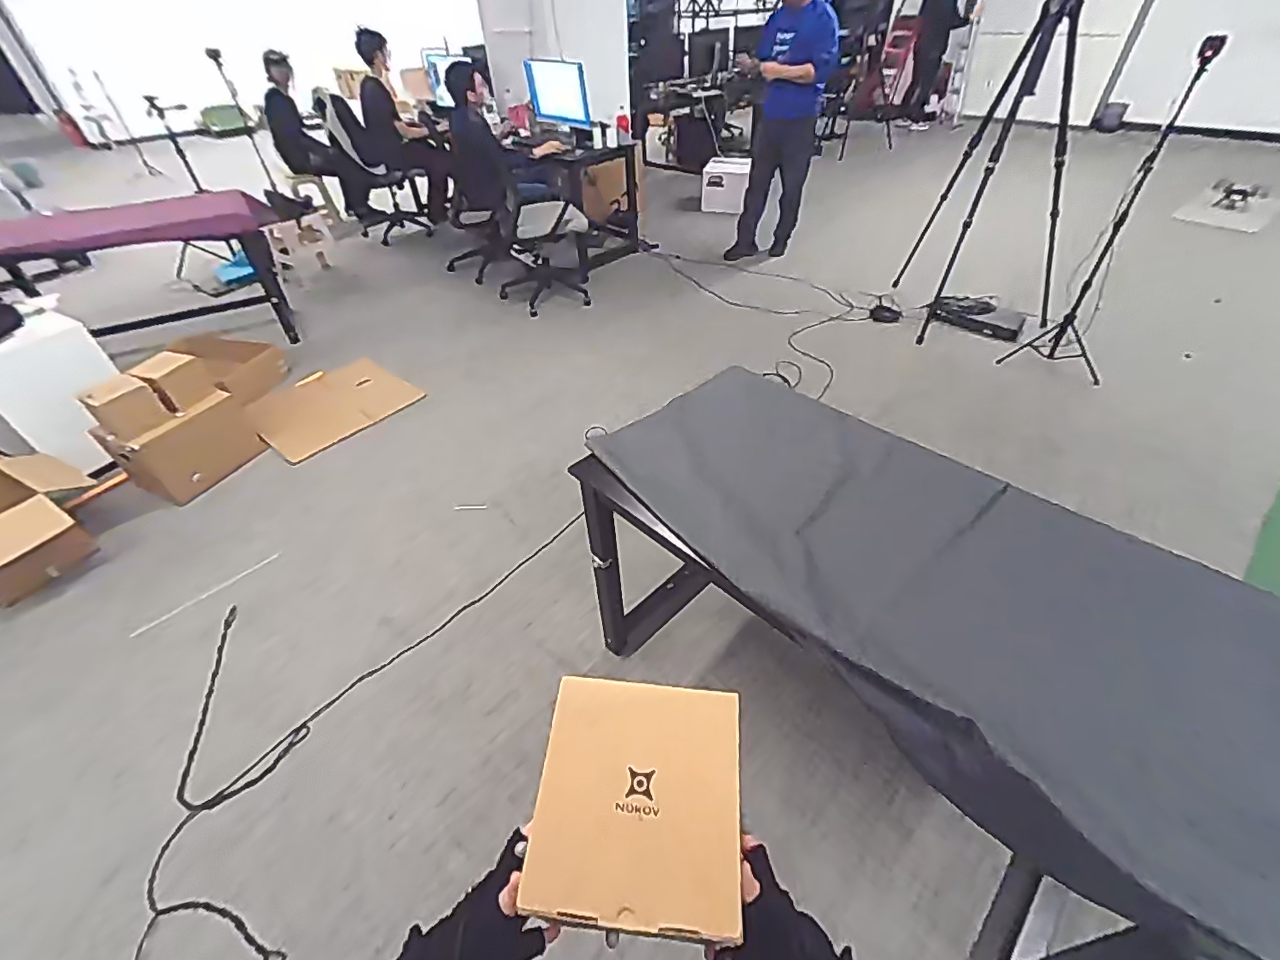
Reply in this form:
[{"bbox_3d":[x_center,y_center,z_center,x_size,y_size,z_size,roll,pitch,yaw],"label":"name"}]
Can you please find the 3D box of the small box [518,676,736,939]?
[{"bbox_3d":[-0.004,0.311,0.513,0.168,0.176,0.179,6,50,3],"label":"small box"}]
